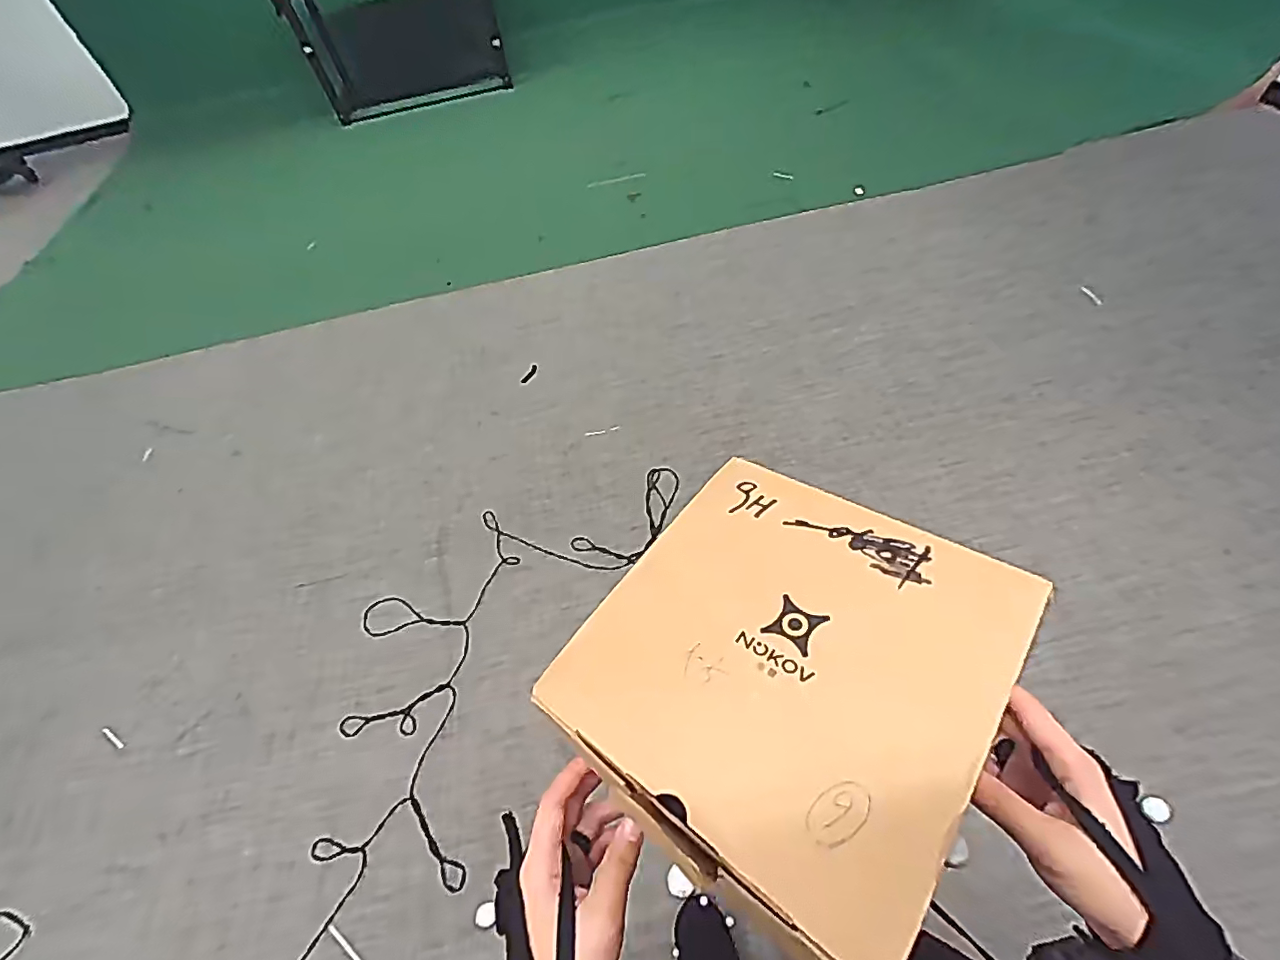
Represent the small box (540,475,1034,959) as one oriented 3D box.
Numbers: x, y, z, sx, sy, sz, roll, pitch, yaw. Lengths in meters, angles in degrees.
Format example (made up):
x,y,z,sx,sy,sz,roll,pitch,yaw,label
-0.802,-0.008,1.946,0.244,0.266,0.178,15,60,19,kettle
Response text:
x,y,z,sx,sy,sz,roll,pitch,yaw,label
0.080,0.135,0.307,0.168,0.176,0.179,26,59,32,small box
